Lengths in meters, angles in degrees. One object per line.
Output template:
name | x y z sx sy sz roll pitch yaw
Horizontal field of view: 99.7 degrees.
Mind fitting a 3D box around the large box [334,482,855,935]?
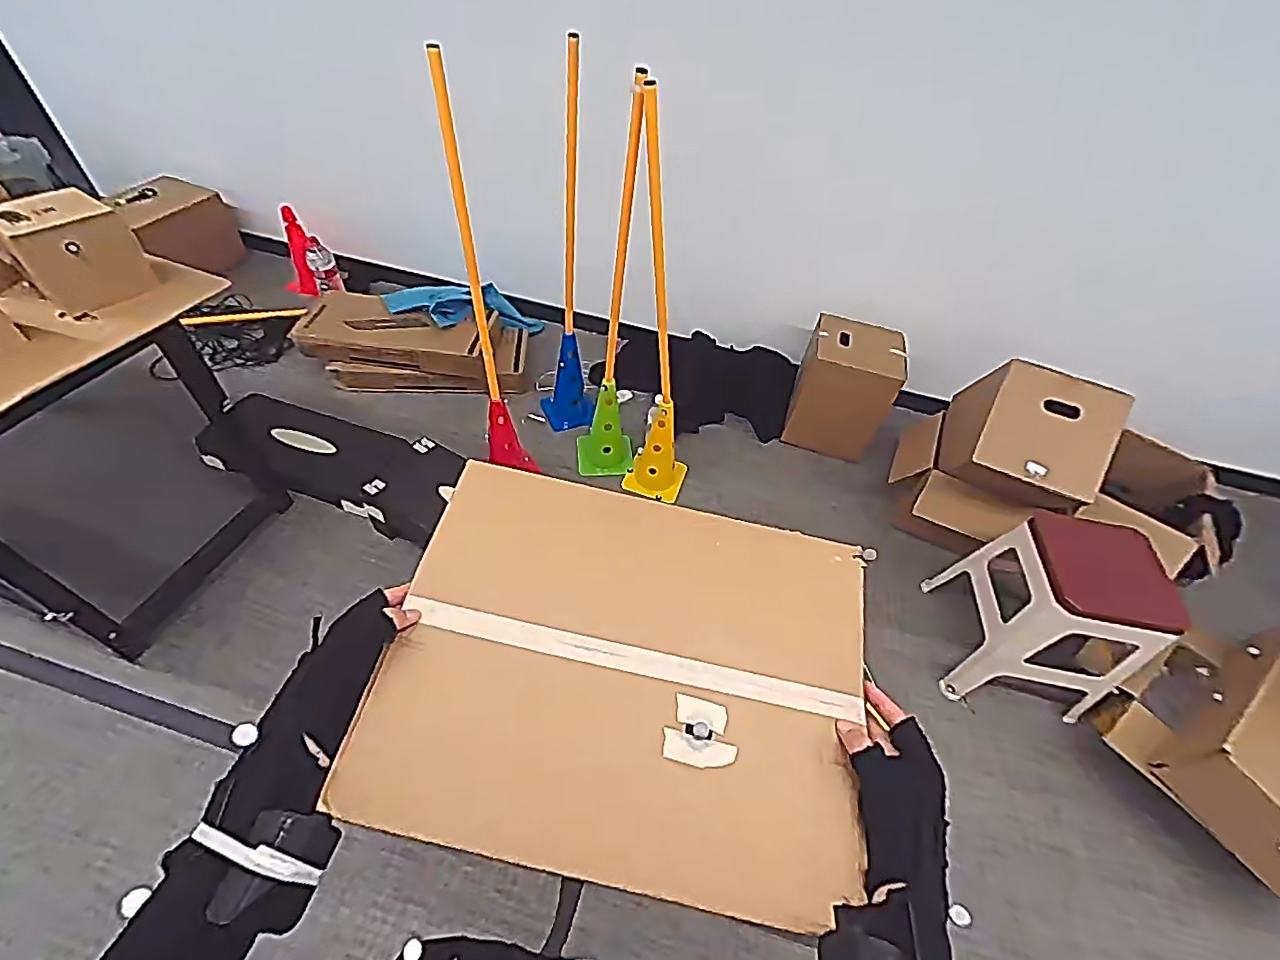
large box | -0.025 0.242 0.602 0.408 0.320 0.320 13 60 1
